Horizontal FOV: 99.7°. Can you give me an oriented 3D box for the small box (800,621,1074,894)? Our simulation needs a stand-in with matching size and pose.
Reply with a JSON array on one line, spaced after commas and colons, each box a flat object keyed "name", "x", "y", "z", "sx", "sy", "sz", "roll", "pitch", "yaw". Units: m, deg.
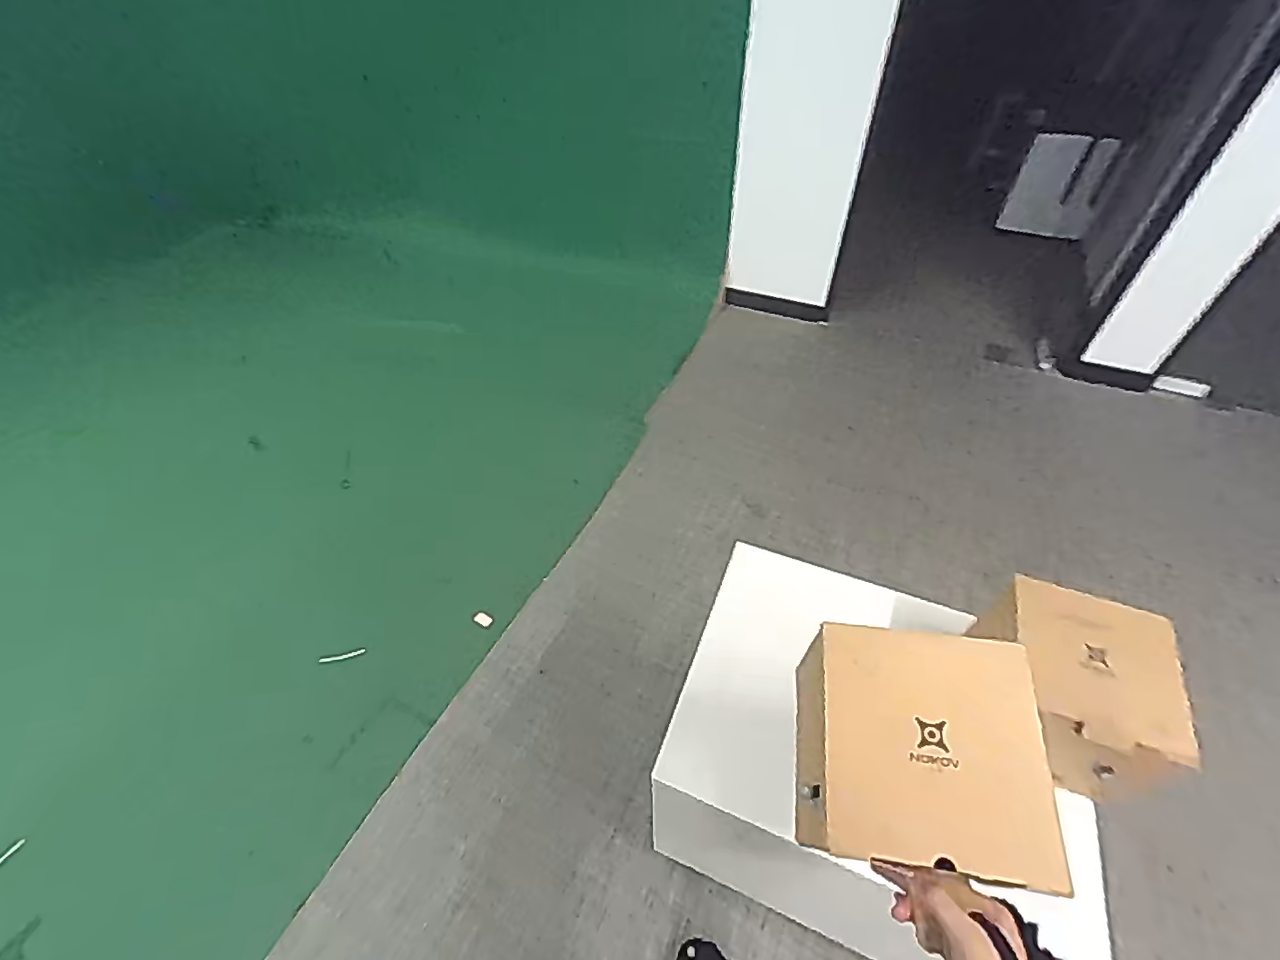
[{"name": "small box", "x": 0.242, "y": 0.247, "z": 0.497, "sx": 0.168, "sy": 0.176, "sz": 0.179, "roll": 4, "pitch": 60, "yaw": 10}]

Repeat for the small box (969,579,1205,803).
[{"name": "small box", "x": 0.514, "y": 0.259, "z": 0.660, "sx": 0.168, "sy": 0.176, "sz": 0.179, "roll": 19, "pitch": 50, "yaw": 16}]
